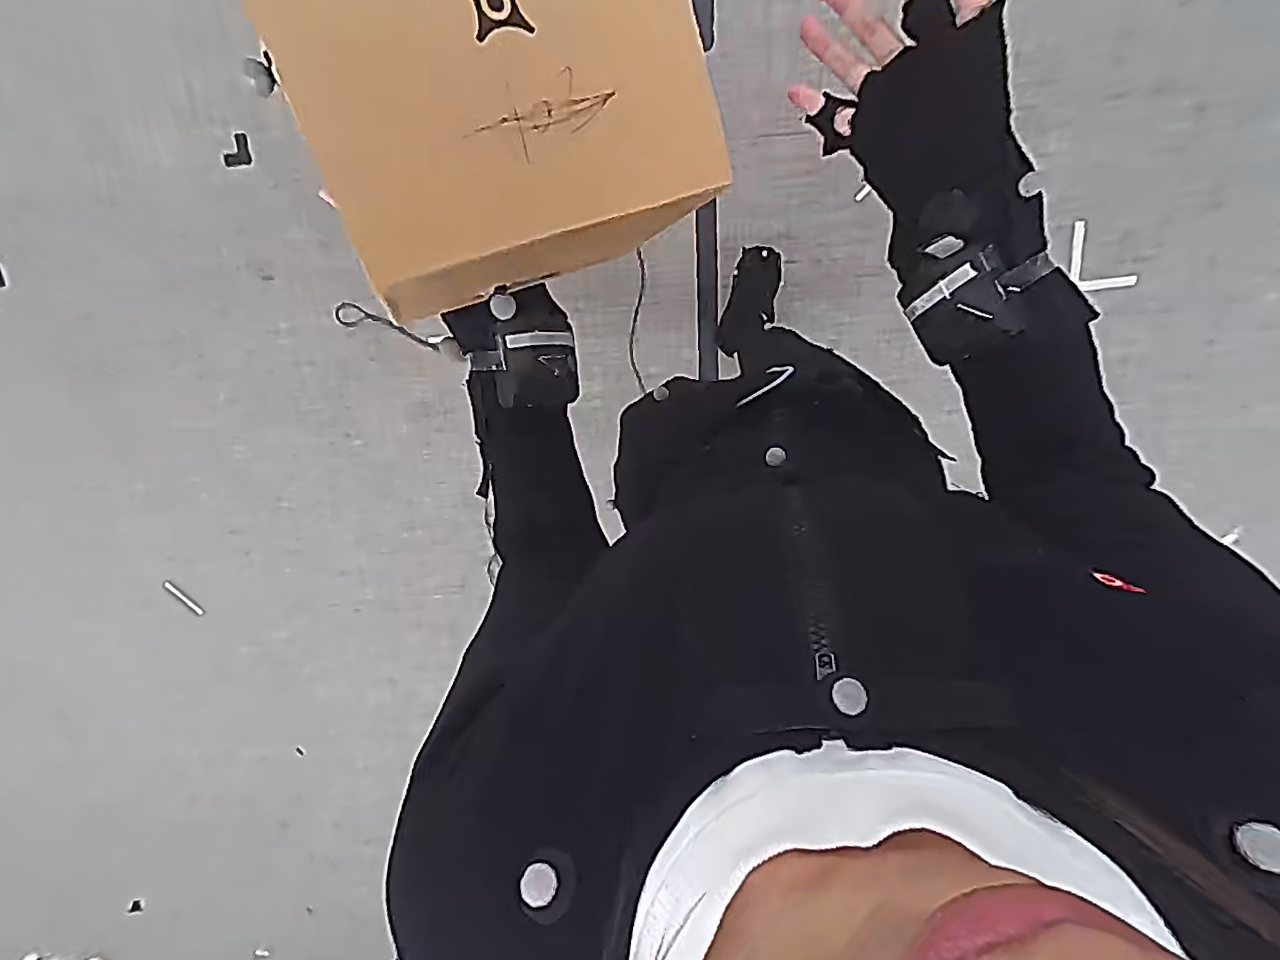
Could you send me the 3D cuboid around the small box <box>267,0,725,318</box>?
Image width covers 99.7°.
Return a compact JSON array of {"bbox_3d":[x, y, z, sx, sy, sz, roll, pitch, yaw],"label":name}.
[{"bbox_3d":[-0.084,-0.202,0.289,0.168,0.176,0.179,-23,107,-16],"label":"small box"}]
